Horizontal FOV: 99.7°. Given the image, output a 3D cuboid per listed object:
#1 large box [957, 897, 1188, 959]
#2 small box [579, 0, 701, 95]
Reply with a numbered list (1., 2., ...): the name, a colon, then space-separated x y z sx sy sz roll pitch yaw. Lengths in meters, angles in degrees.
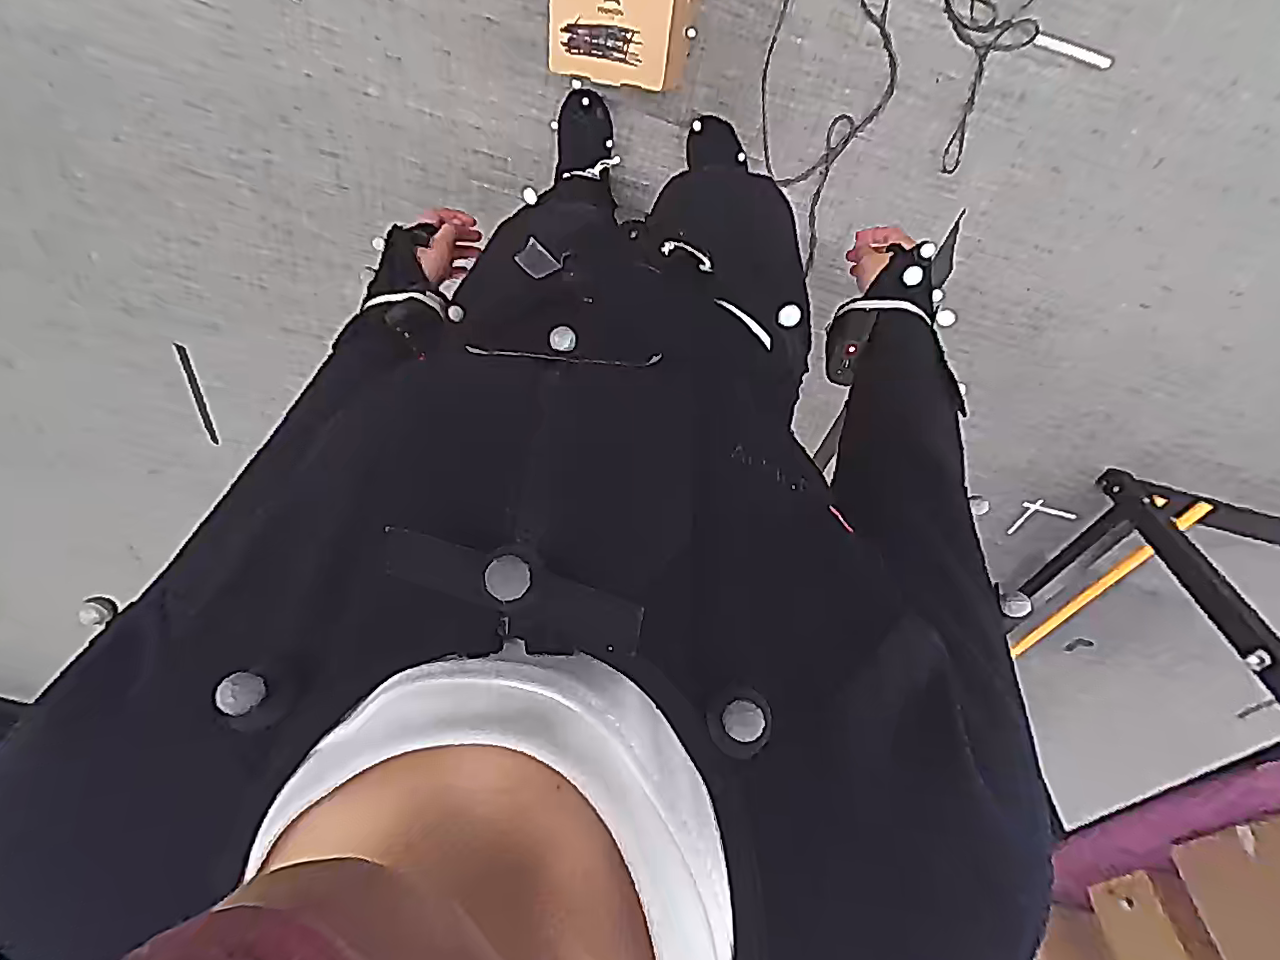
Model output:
1. large box: 1.090 1.274 1.318 0.408 0.320 0.320 14 130 -3
2. small box: 0.007 -0.770 0.897 0.168 0.176 0.179 15 130 -1
